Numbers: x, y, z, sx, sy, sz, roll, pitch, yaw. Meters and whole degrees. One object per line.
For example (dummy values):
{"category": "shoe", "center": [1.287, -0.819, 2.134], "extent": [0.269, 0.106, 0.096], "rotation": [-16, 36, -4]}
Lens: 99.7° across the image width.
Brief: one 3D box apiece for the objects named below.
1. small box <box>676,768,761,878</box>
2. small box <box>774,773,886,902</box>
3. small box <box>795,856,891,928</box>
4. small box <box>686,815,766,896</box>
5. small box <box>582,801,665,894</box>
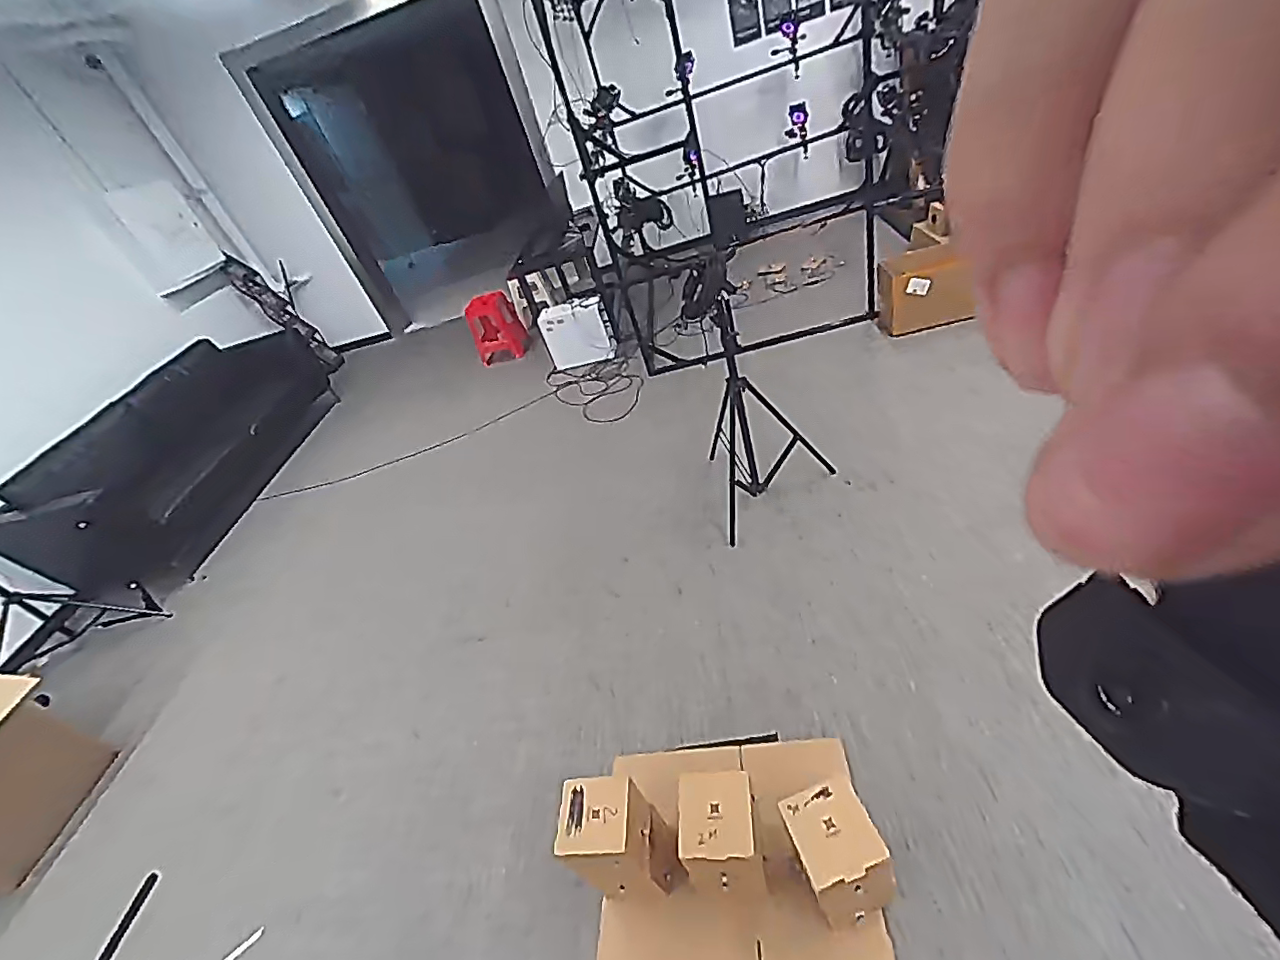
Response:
{"category": "small box", "center": [0.184, 0.802, 1.265], "extent": [0.168, 0.176, 0.179], "rotation": [-10, 39, 13]}
{"category": "small box", "center": [0.416, 0.787, 1.181], "extent": [0.168, 0.176, 0.179], "rotation": [-23, 38, -2]}
{"category": "small box", "center": [0.468, 0.907, 1.279], "extent": [0.168, 0.176, 0.179], "rotation": [-24, 37, -3]}
{"category": "small box", "center": [0.220, 0.928, 1.365], "extent": [0.179, 0.176, 0.168], "rotation": [-10, 39, 13]}
{"category": "small box", "center": [-0.036, 0.971, 1.427], "extent": [0.179, 0.176, 0.168], "rotation": [-12, 38, 13]}
